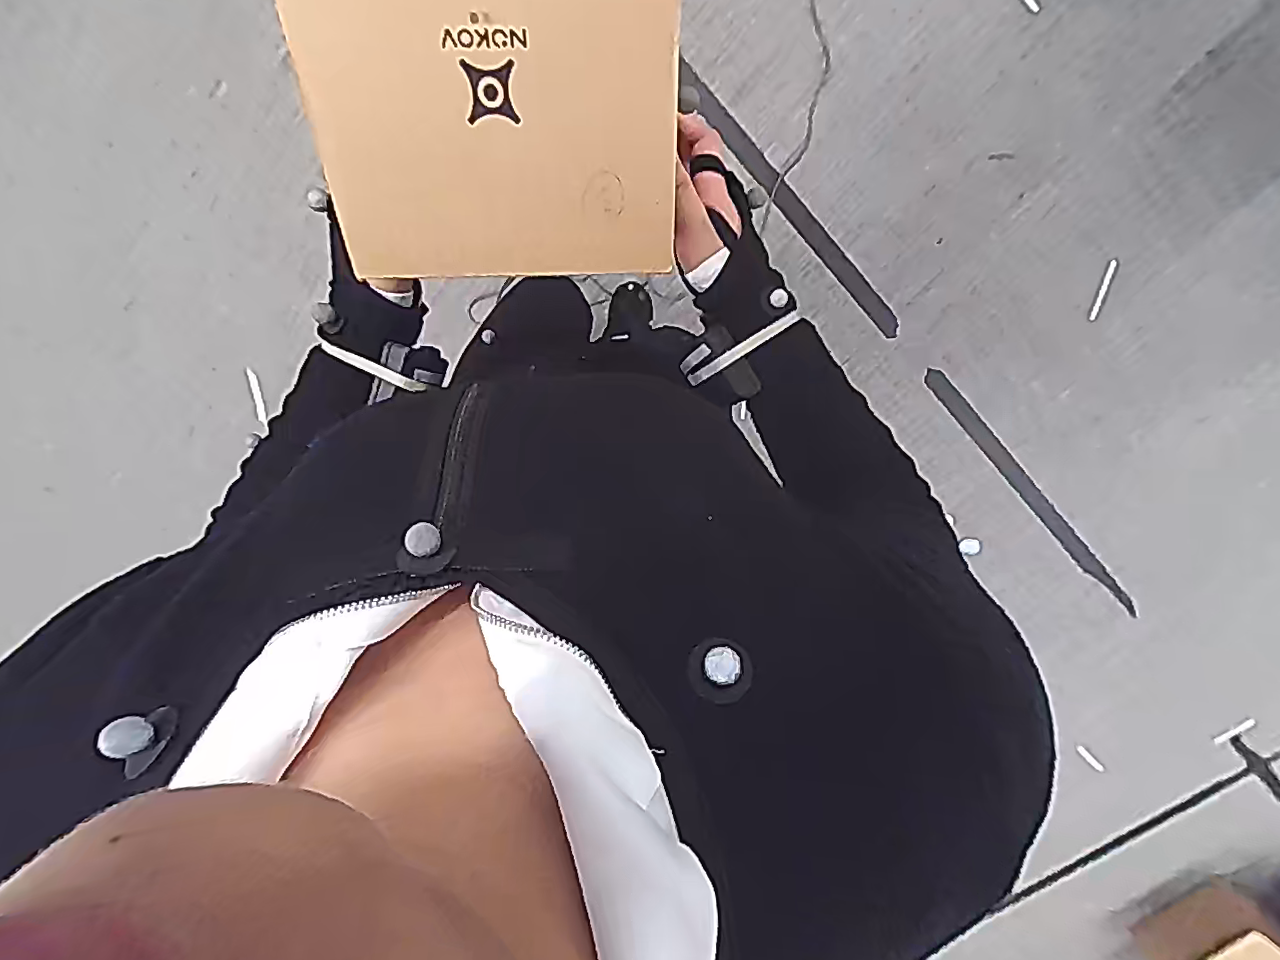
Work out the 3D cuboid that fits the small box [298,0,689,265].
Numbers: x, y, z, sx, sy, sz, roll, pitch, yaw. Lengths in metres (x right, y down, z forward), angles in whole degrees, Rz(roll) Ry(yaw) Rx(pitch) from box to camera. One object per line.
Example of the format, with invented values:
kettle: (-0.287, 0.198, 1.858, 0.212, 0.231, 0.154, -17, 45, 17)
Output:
small box: (-0.065, -0.231, 0.303, 0.168, 0.176, 0.179, -1, 123, -4)
